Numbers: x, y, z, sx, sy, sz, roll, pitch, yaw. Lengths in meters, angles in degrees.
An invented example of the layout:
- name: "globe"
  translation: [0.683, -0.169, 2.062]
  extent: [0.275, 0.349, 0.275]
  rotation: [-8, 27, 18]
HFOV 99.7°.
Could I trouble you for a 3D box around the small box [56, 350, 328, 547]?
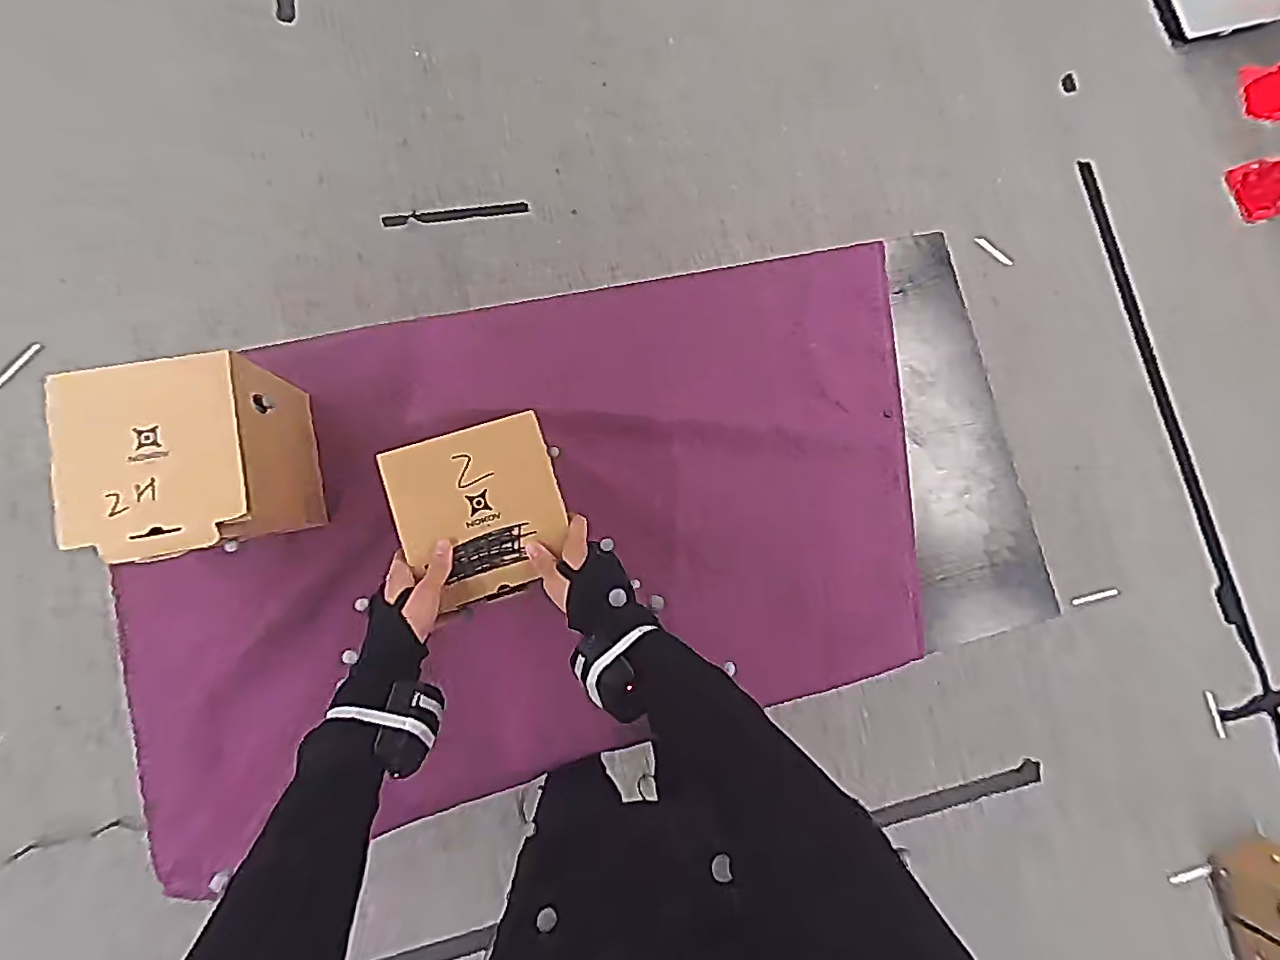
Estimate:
- name: "small box"
  translation: [-0.478, -0.025, 0.603]
  extent: [0.168, 0.176, 0.179]
  rotation: [-10, 85, -8]
